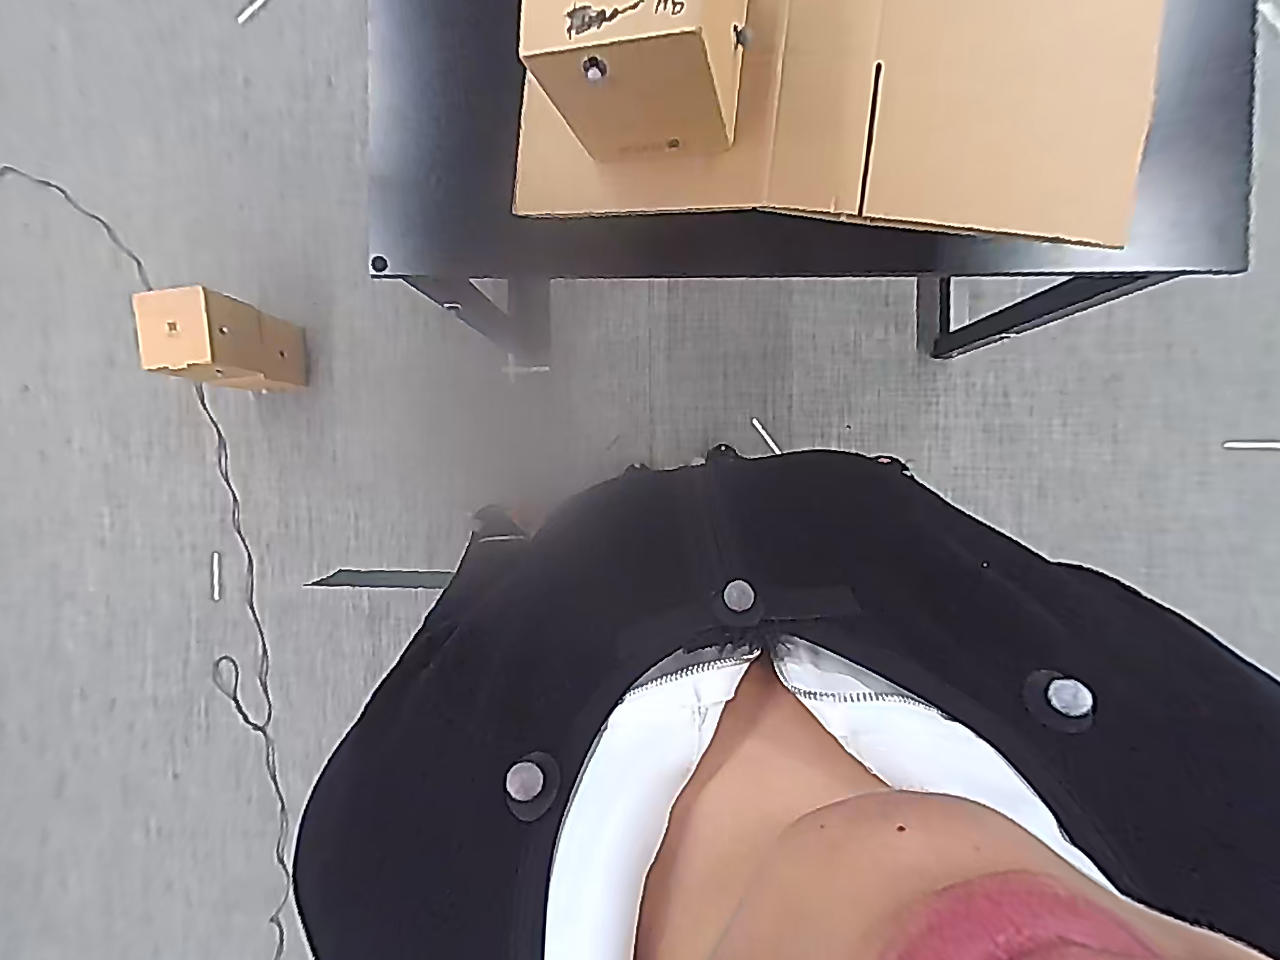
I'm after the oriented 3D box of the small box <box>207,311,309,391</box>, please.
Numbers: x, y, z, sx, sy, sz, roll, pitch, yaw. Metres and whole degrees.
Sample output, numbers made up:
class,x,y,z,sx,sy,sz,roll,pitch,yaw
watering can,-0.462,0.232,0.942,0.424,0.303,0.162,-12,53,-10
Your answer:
class,x,y,z,sx,sy,sz,roll,pitch,yaw
small box,-1.027,-0.343,1.458,0.168,0.176,0.179,-3,92,3

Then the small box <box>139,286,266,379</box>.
class,x,y,z,sx,sy,sz,roll,pitch,yaw
small box,-1.036,-0.344,1.296,0.168,0.176,0.179,-6,90,2

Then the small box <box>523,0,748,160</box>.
class,x,y,z,sx,sy,sz,roll,pitch,yaw
small box,0.008,-0.448,0.524,0.168,0.176,0.179,6,92,18
